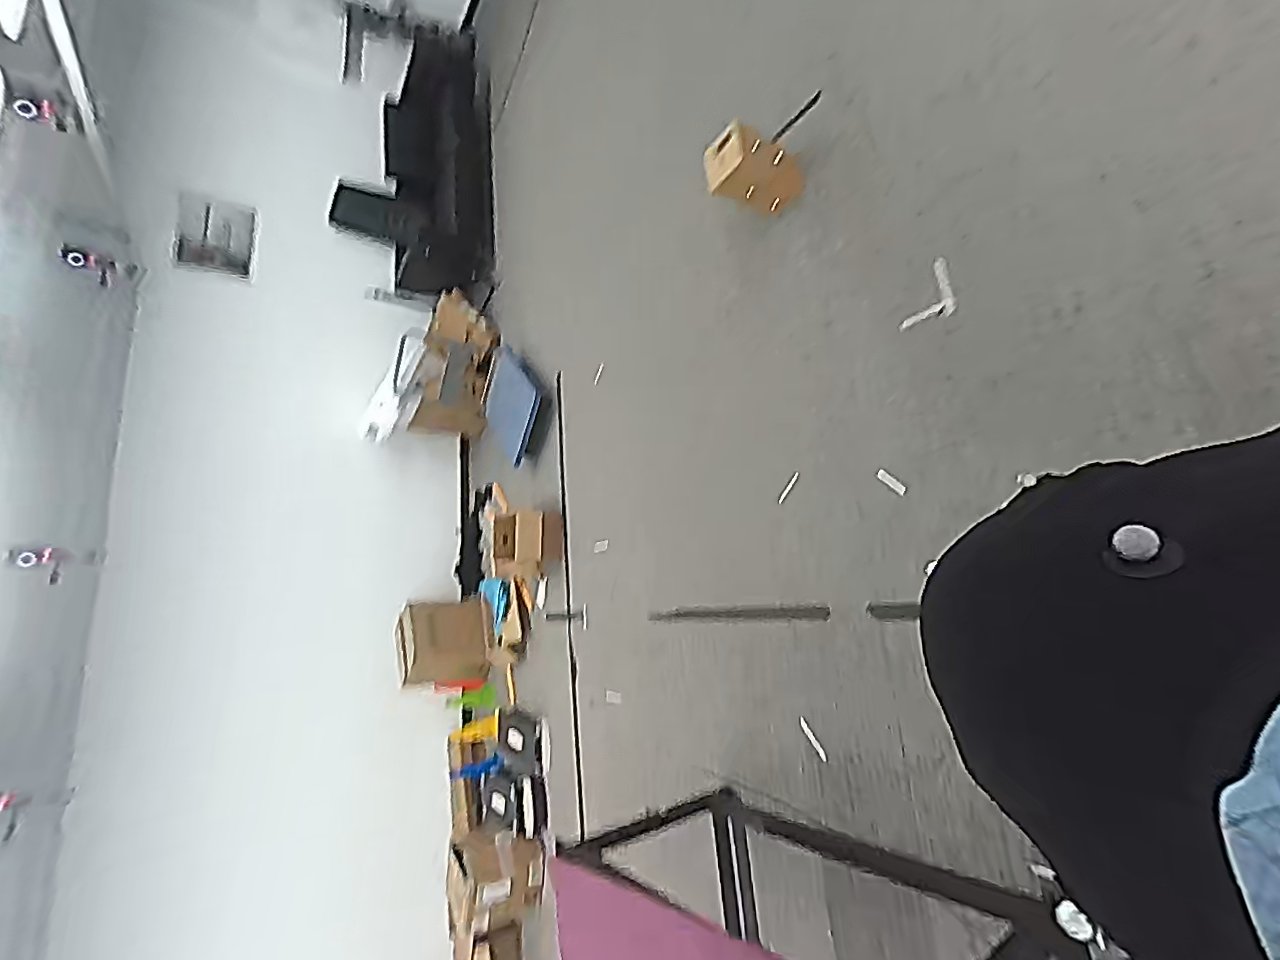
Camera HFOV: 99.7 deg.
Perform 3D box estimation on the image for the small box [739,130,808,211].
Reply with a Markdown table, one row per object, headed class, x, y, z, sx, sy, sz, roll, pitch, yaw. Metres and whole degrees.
| class | x | y | z | sx | sy | sz | roll | pitch | yaw |
| --- | --- | --- | --- | --- | --- | --- | --- | --- | --- |
| small box | 0.500 | -1.152 | 2.027 | 0.168 | 0.176 | 0.179 | -30 | 63 | 51 |
